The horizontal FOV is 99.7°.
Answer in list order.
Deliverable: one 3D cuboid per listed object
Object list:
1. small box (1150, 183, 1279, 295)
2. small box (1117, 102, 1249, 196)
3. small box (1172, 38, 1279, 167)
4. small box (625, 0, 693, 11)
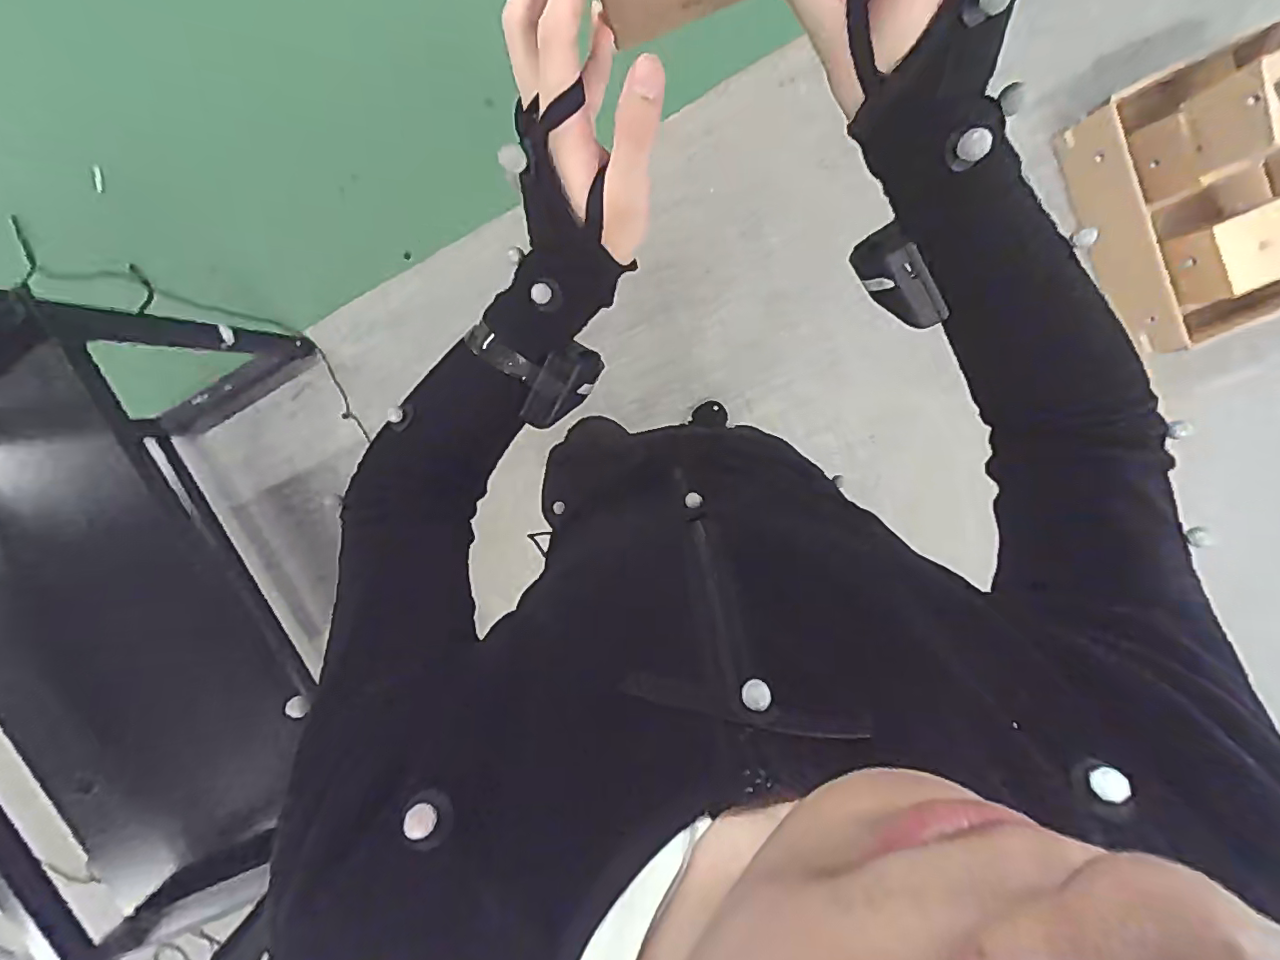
[{"bbox_3d":[1.388,-0.566,1.299,0.179,0.176,0.168,-25,96,9],"label":"small box"},{"bbox_3d":[1.278,-0.803,1.267,0.179,0.176,0.168,-25,98,9],"label":"small box"},{"bbox_3d":[1.264,-0.781,1.105,0.179,0.176,0.168,-19,98,7],"label":"small box"},{"bbox_3d":[0.037,-0.356,0.236,0.168,0.176,0.179,-14,106,9],"label":"small box"}]
